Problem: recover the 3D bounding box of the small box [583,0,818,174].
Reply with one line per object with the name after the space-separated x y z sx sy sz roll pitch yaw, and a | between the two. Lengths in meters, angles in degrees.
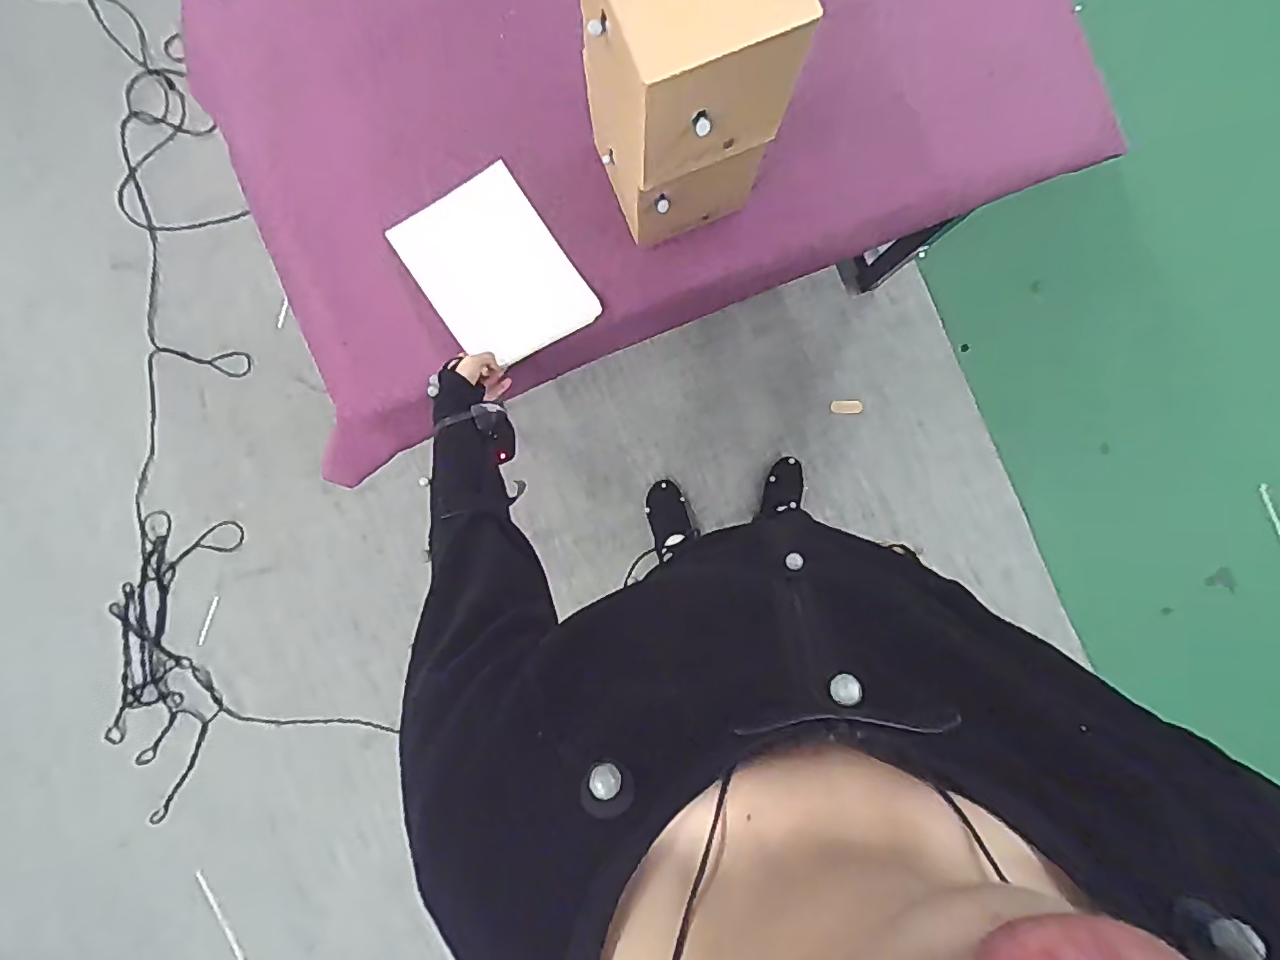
0.047 -0.441 0.537 0.168 0.176 0.179 -22 89 0 | small box
